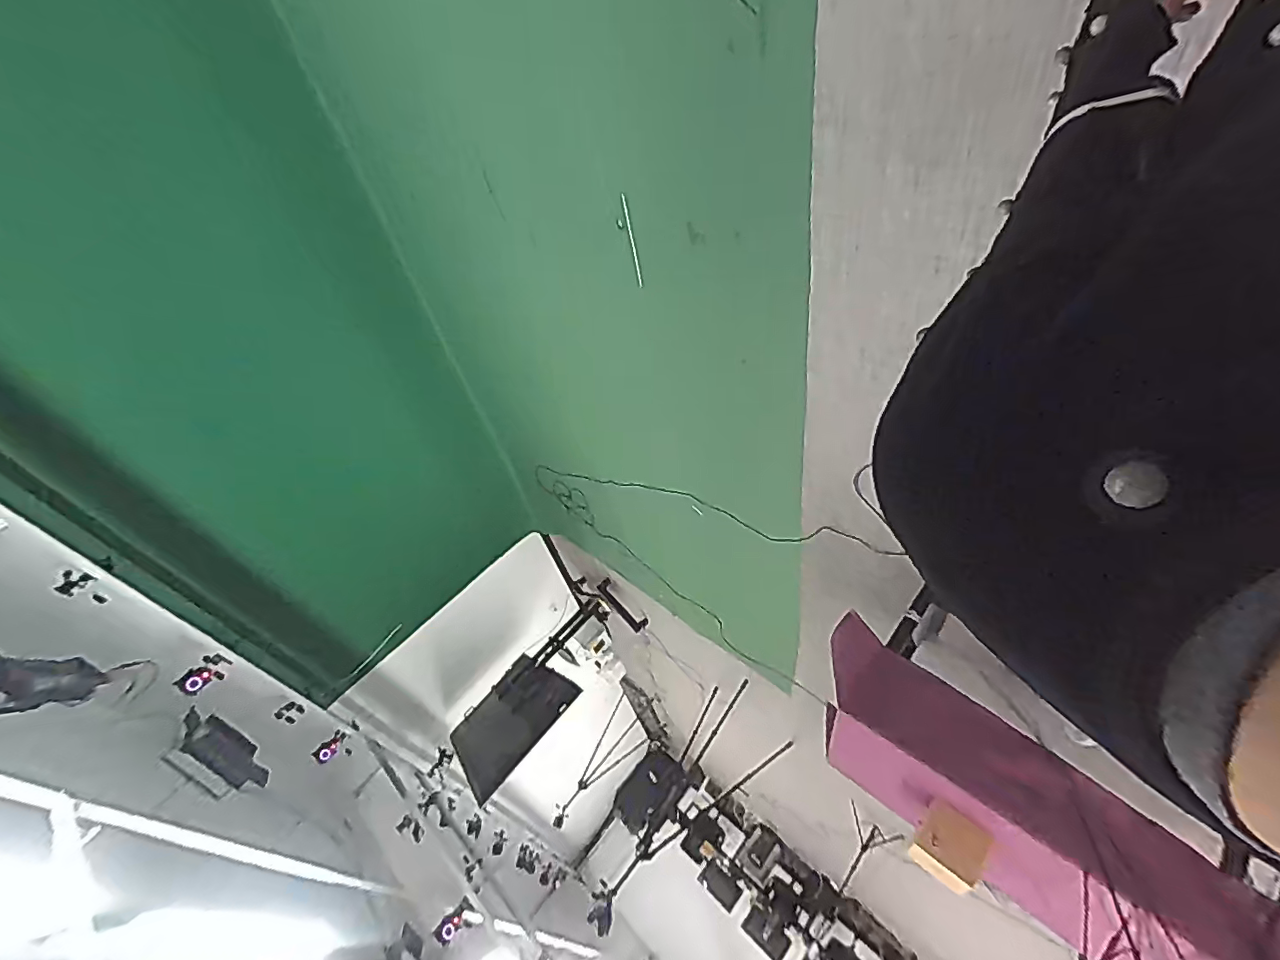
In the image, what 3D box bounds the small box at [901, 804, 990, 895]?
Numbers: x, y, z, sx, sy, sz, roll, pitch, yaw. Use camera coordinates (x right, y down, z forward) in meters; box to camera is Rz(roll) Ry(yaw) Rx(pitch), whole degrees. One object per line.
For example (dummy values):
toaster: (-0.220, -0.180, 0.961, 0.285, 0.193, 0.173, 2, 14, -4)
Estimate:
small box: (0.976, 1.175, 1.732, 0.179, 0.176, 0.168, 30, 150, 33)
